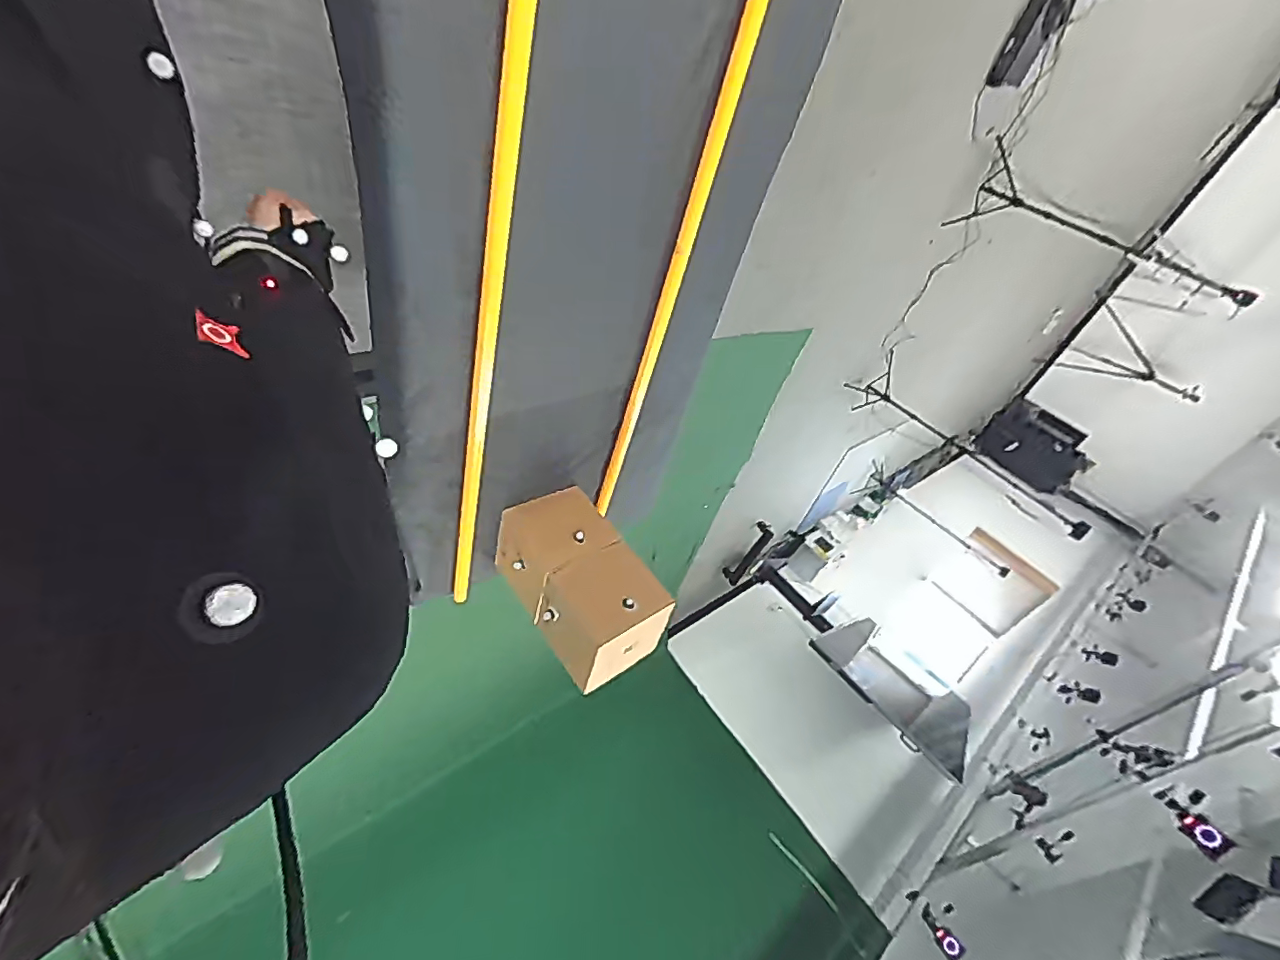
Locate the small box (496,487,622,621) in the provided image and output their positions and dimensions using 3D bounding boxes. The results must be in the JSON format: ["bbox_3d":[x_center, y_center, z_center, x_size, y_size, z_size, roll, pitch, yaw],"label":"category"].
[{"bbox_3d":[-0.169,0.141,1.077,0.179,0.176,0.168,-20,143,-38],"label":"small box"}]

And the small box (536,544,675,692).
[{"bbox_3d":[-0.069,0.247,1.004,0.179,0.176,0.168,-21,142,-36],"label":"small box"}]
